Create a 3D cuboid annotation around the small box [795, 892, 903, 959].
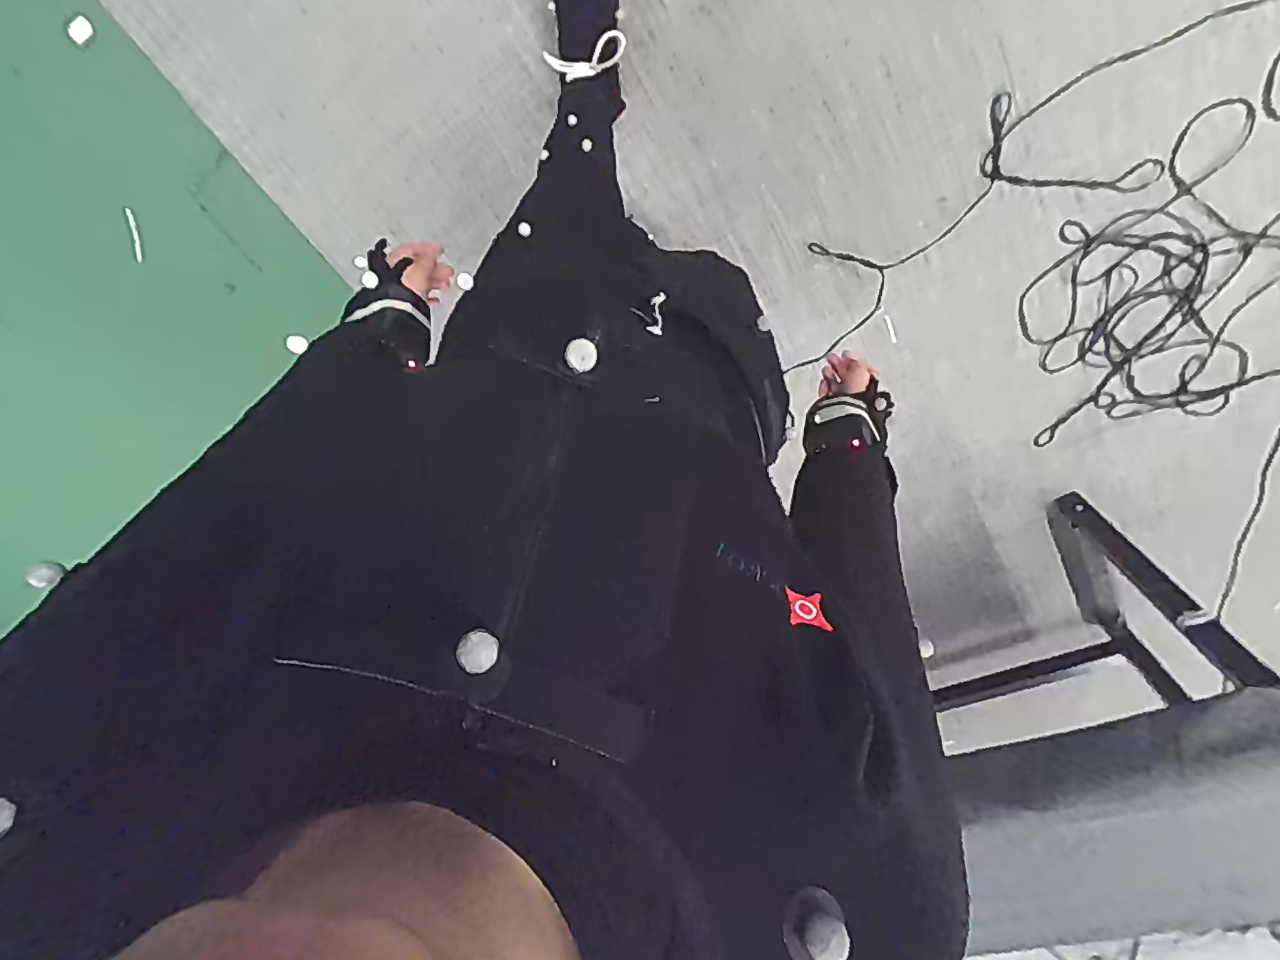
[{"bbox_3d":[0.465,1.039,1.194,0.168,0.176,0.179,-34,117,25],"label":"small box"}]
